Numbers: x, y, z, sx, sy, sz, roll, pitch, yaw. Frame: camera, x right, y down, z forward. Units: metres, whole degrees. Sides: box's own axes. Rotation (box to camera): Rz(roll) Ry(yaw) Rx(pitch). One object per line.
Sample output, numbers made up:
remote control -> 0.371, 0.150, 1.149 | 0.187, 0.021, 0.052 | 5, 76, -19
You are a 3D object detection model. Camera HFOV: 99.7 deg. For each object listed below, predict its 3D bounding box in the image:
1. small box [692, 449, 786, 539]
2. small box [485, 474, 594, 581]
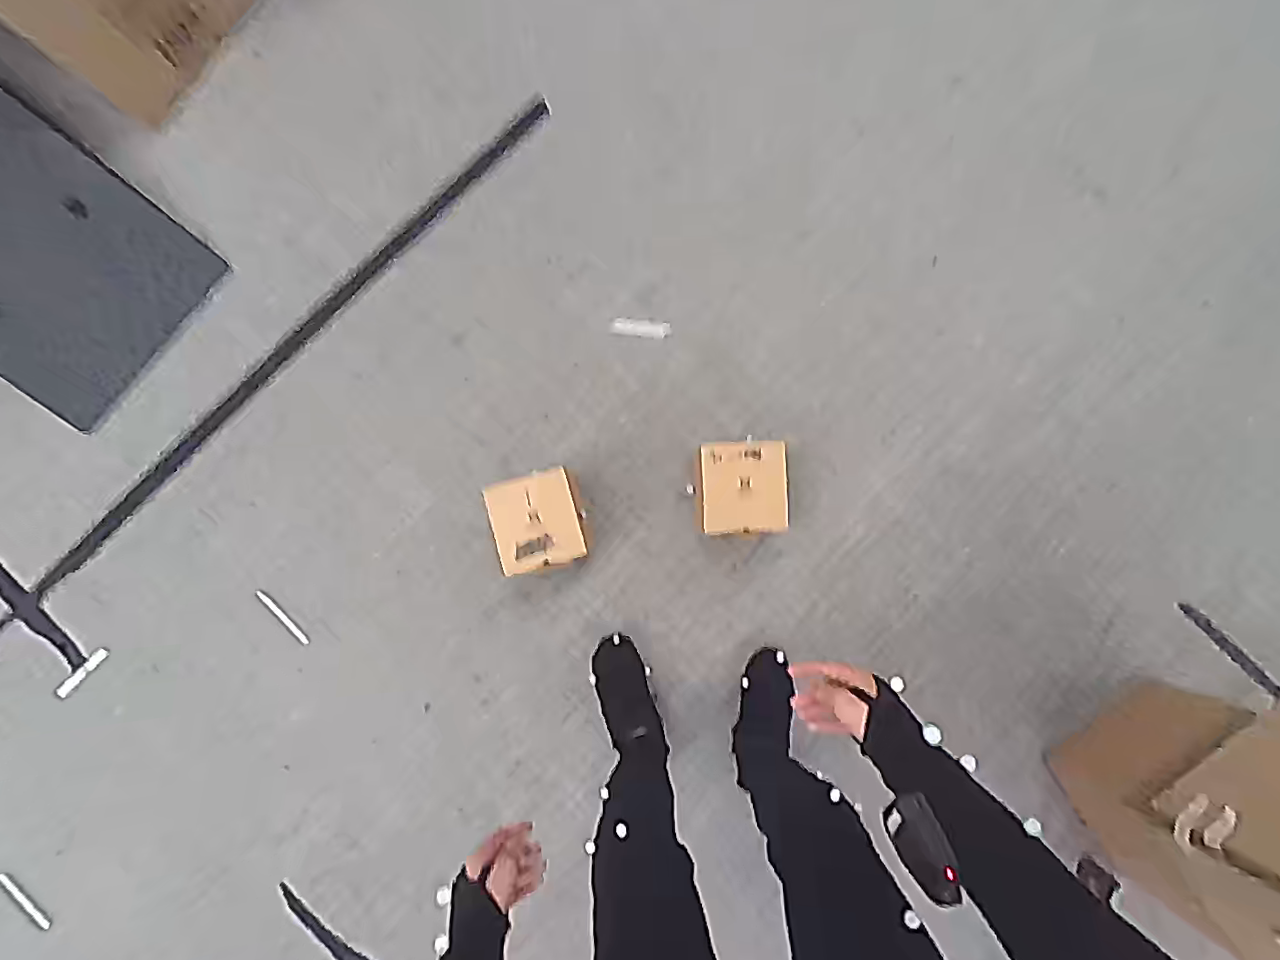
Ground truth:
small box -> 0.201, 0.029, 1.130 | 0.168, 0.176, 0.179 | -1, 88, -1
small box -> -0.200, 0.095, 1.125 | 0.168, 0.176, 0.179 | -16, 86, -1
